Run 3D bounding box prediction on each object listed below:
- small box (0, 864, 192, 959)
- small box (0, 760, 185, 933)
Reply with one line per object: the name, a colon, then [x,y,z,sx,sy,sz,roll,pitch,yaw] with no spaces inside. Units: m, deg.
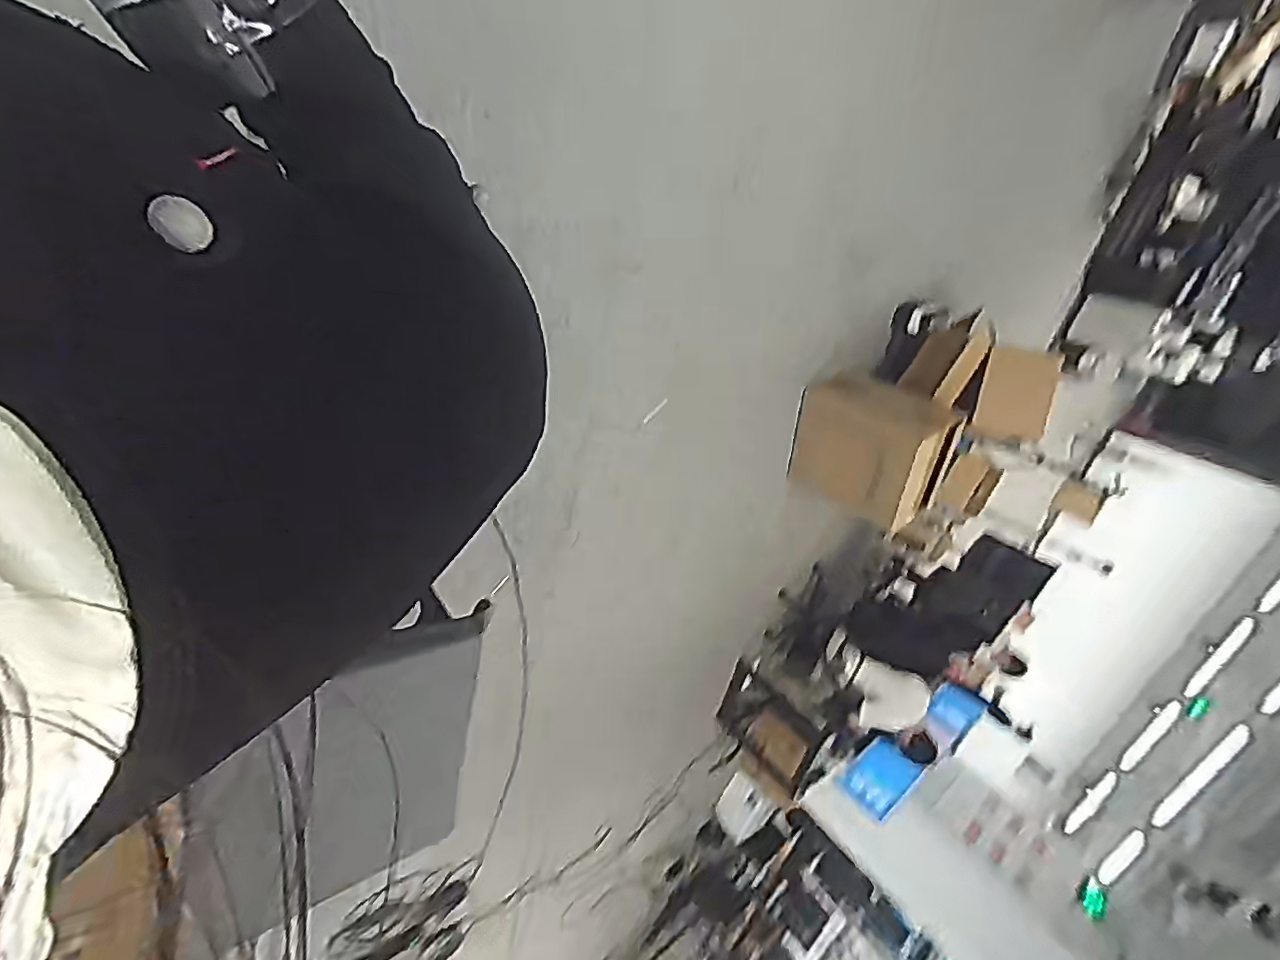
small box: [-0.592,0.570,0.576,0.179,0.176,0.168,-4,121,-42]
small box: [-0.692,0.498,0.679,0.179,0.176,0.168,-1,121,-43]
